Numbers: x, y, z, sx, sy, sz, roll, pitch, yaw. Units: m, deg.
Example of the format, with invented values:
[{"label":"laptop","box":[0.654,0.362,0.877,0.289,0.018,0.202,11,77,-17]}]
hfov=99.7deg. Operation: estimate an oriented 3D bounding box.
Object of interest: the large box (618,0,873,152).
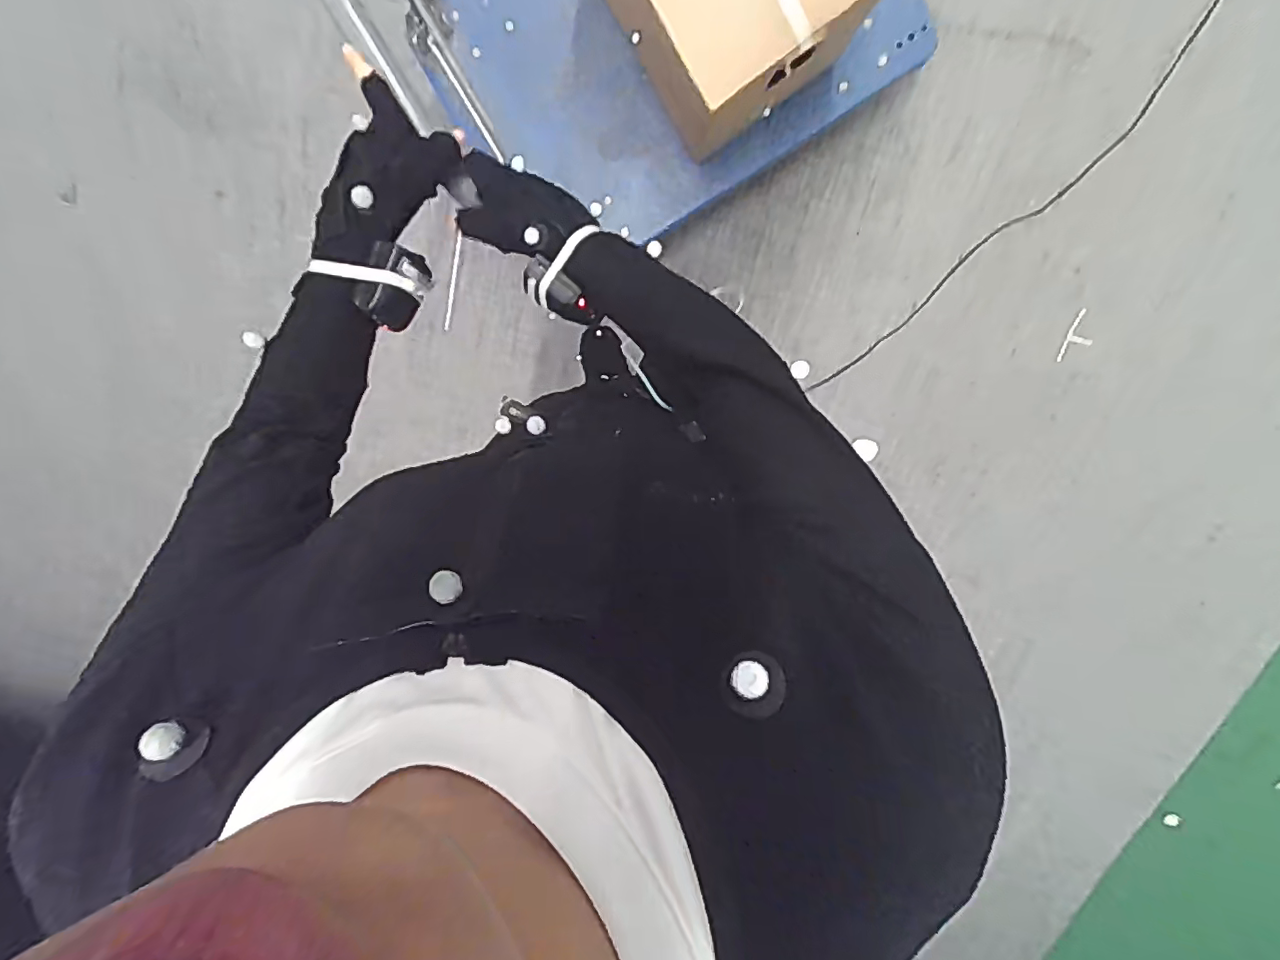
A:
[{"label":"large box","box":[0.140,-0.847,0.873,0.320,0.320,0.408,-32,103,11]}]
